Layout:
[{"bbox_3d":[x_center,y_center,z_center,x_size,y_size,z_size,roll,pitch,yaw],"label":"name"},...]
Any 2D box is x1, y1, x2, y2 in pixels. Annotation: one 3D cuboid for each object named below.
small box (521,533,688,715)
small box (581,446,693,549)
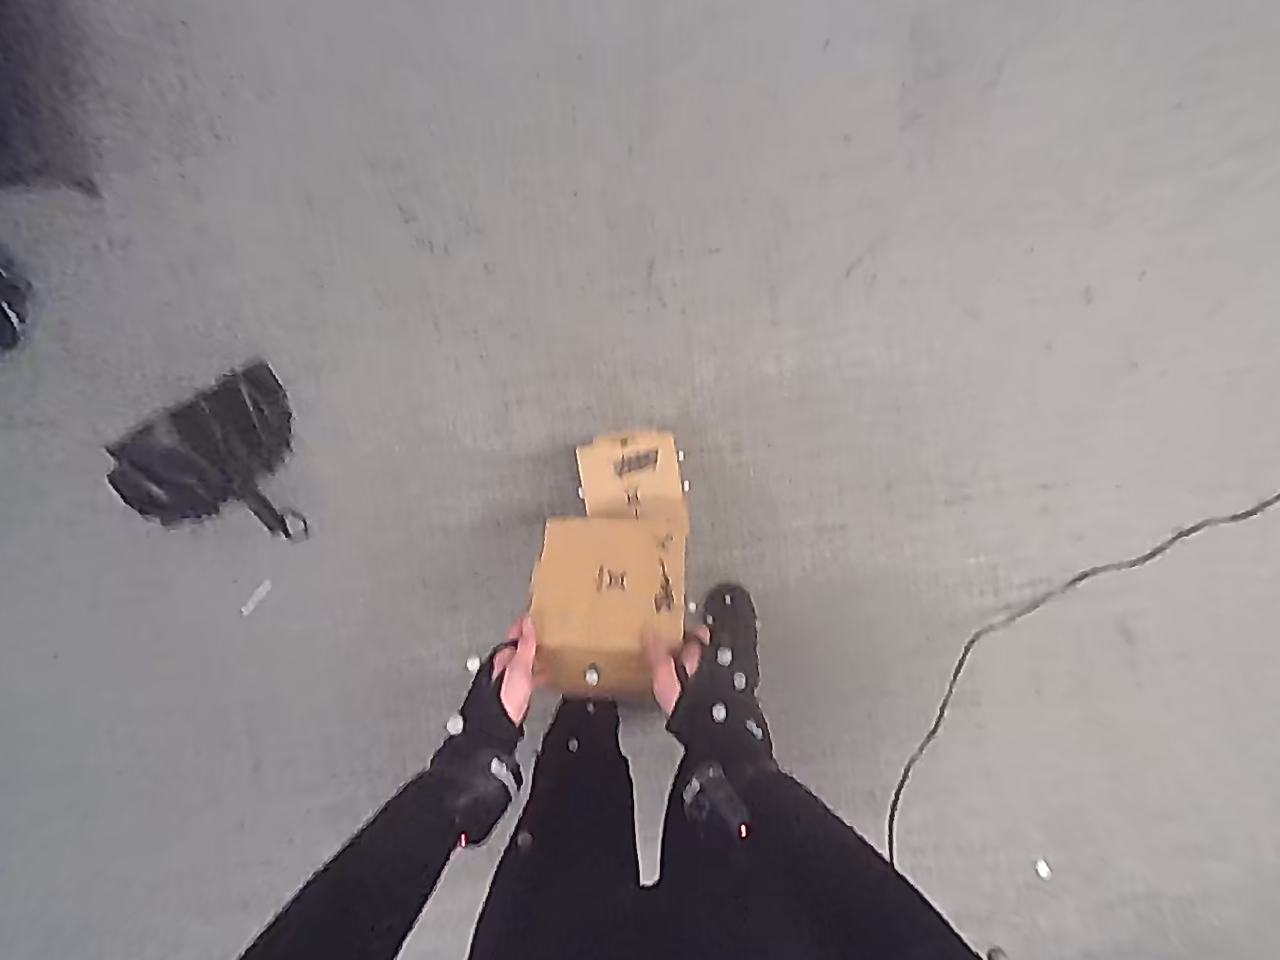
[{"bbox_3d":[-0.030,0.182,0.676,0.179,0.176,0.168,1,50,4],"label":"small box"},{"bbox_3d":[-0.003,0.042,0.980,0.168,0.176,0.179,-10,90,3],"label":"small box"}]
